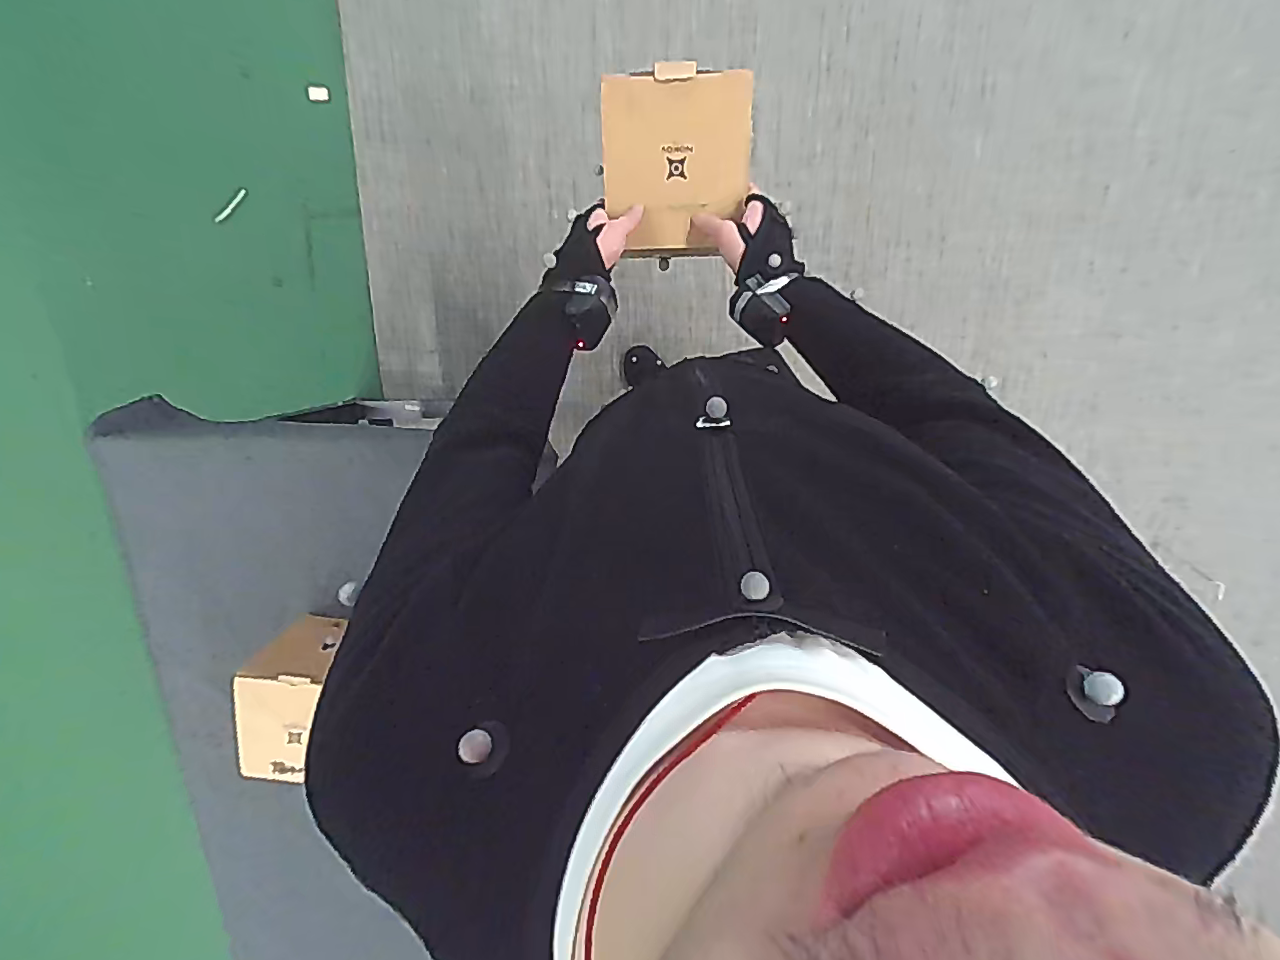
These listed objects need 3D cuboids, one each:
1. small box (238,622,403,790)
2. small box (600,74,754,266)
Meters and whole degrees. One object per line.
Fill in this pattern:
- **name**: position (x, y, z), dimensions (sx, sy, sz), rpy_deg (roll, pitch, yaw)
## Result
- **small box**: position (-0.489, 0.343, 0.849), dimensions (0.168, 0.176, 0.179), rpy_deg (8, 103, -2)
- **small box**: position (0.039, -0.365, 0.667), dimensions (0.168, 0.176, 0.179), rpy_deg (1, 108, 2)
